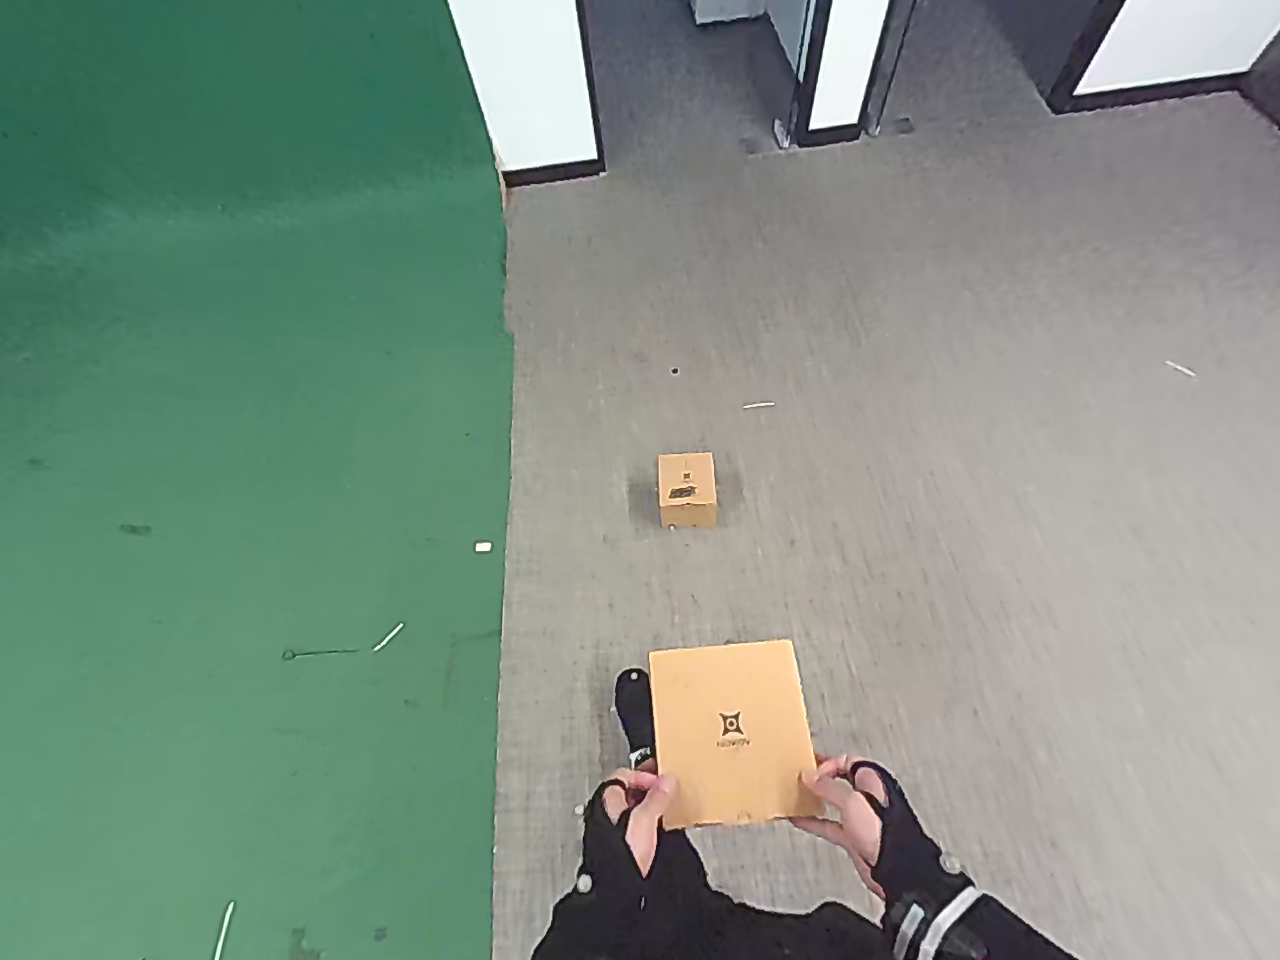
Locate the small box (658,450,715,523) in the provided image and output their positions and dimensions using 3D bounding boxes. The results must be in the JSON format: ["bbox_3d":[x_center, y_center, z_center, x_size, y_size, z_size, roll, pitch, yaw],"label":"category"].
[{"bbox_3d":[0.143,0.026,1.655,0.168,0.176,0.179,-2,61,3],"label":"small box"}]
